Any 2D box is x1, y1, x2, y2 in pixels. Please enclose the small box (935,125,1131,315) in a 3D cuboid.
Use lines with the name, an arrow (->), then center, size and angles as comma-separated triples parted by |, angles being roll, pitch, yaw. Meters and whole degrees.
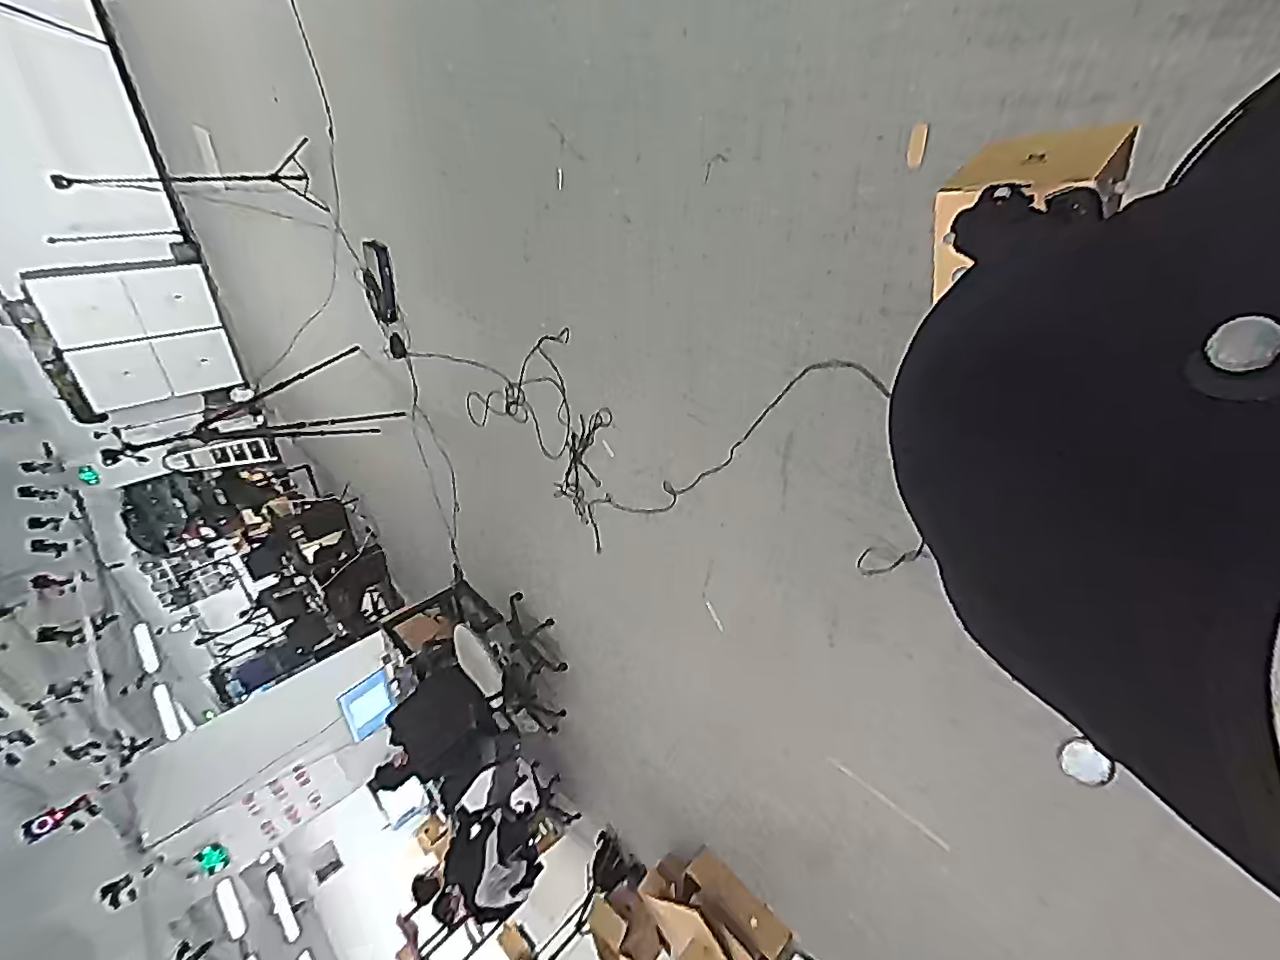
small box -> 0.515, -0.346, 0.729 | 0.168, 0.179, 0.176 | 22, 146, 42
